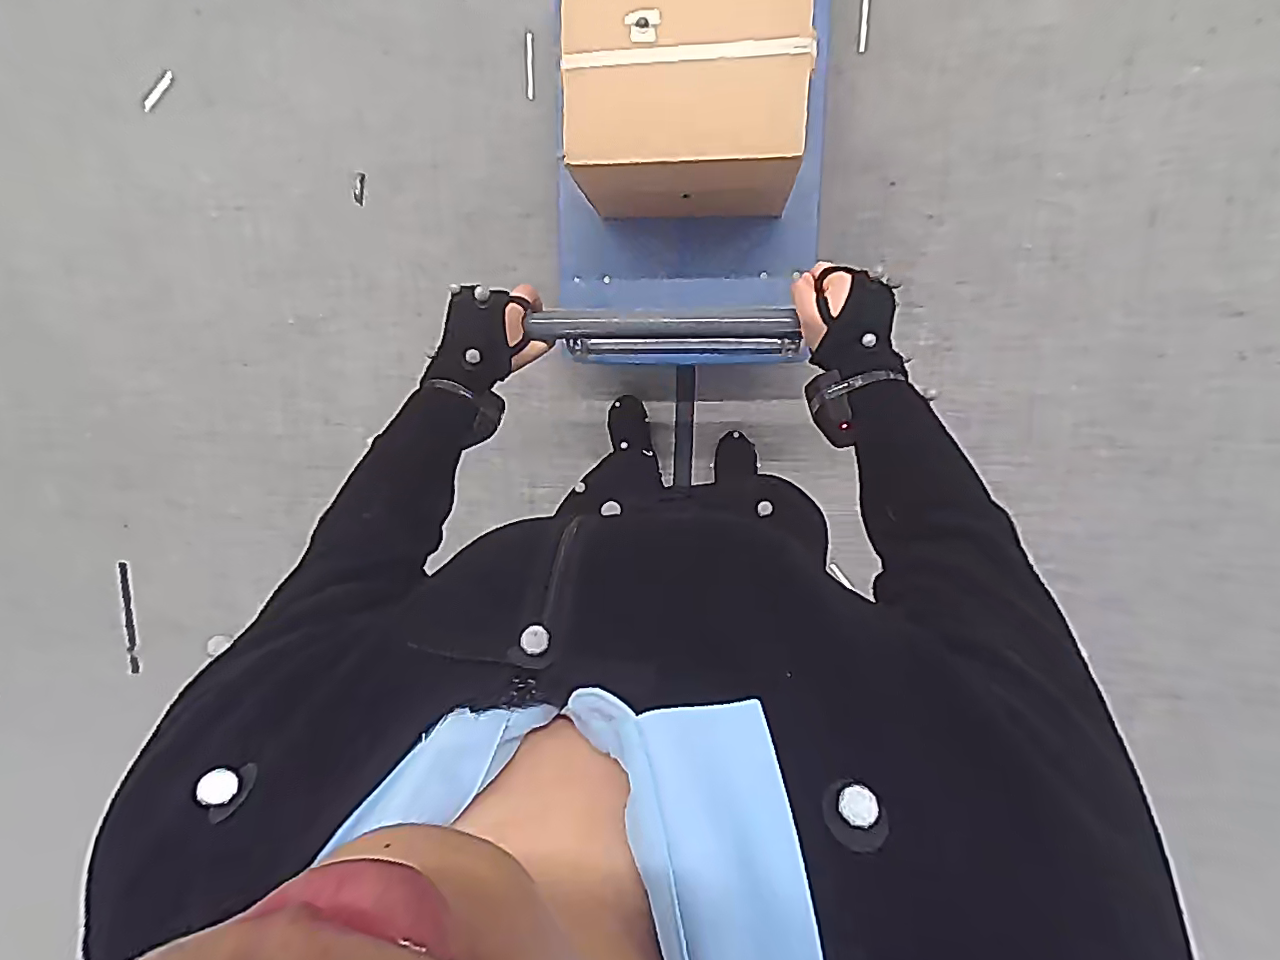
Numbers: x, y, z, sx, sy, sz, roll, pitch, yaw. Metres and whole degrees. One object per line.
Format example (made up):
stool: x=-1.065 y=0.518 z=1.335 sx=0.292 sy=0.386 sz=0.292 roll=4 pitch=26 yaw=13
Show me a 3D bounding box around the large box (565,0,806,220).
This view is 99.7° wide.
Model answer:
large box: x=0.092 y=-0.714 z=1.045 sx=0.408 sy=0.320 sz=0.320 roll=3 pitch=99 yaw=9
